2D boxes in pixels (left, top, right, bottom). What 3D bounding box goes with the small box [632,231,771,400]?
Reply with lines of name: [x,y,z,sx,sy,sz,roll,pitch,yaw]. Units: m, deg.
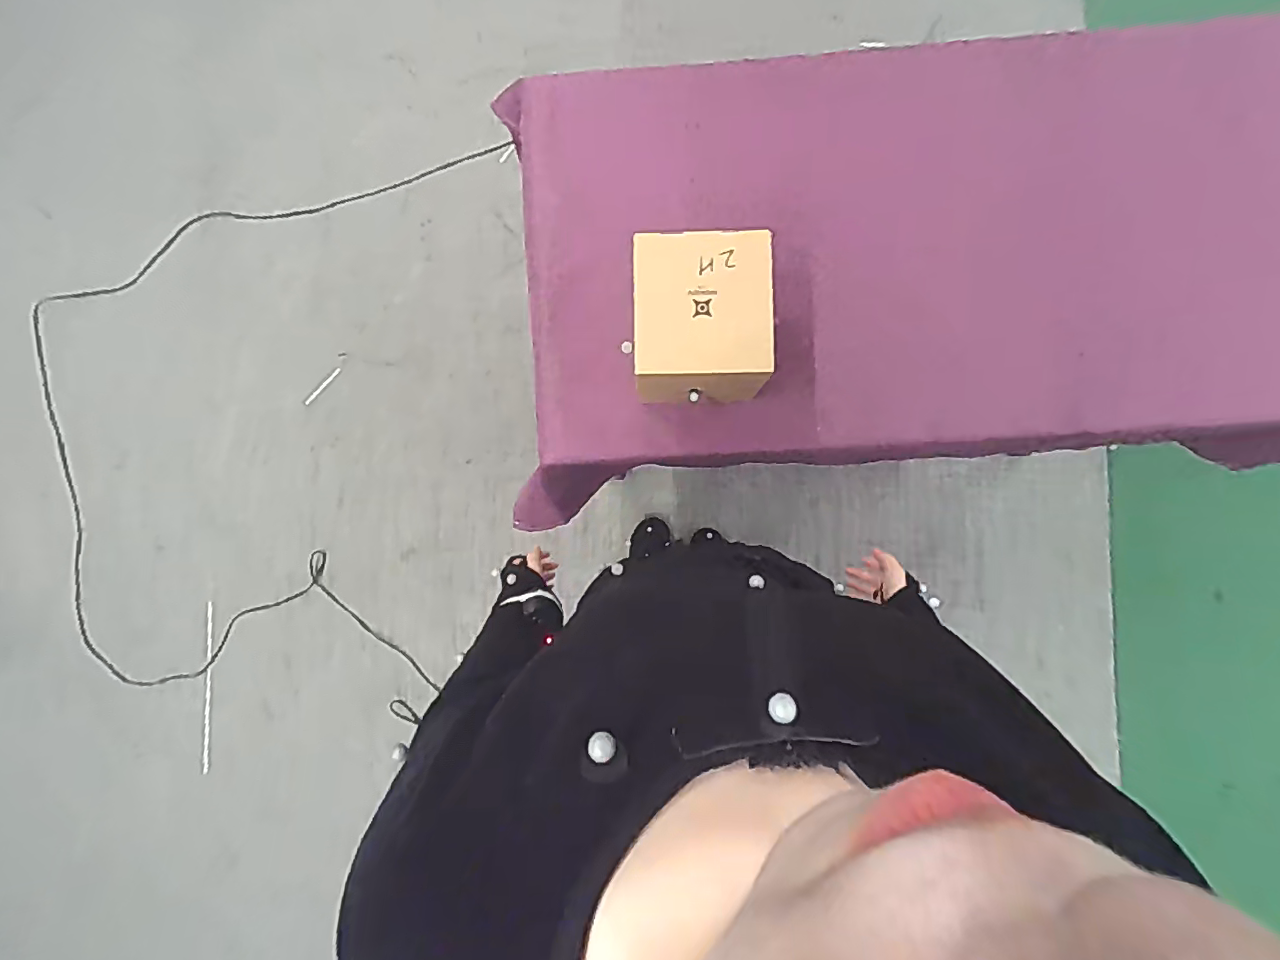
small box: [0.076,-0.205,0.718,0.168,0.176,0.179,0,87,2]
